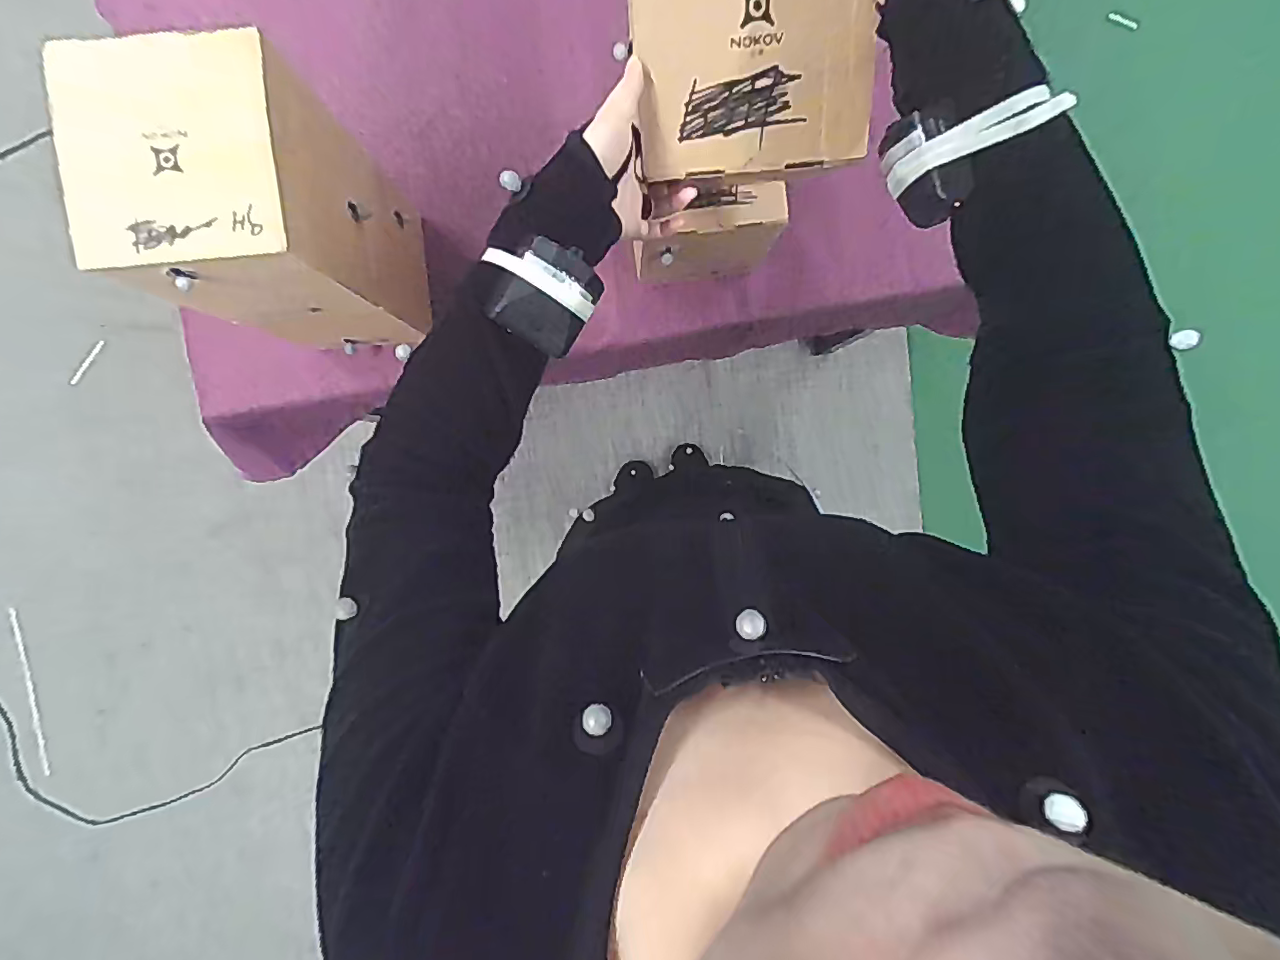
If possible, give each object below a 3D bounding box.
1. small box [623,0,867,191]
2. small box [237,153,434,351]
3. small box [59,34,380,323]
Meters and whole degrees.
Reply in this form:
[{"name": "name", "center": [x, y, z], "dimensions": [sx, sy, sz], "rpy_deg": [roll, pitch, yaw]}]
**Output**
[{"name": "small box", "center": [0.073, -0.342, 0.441], "dimensions": [0.168, 0.176, 0.179], "rpy_deg": [-5, 113, 2]}, {"name": "small box", "center": [-0.373, -0.269, 0.673], "dimensions": [0.168, 0.176, 0.179], "rpy_deg": [-5, 93, -1]}, {"name": "small box", "center": [-0.369, -0.262, 0.508], "dimensions": [0.168, 0.176, 0.179], "rpy_deg": [-5, 92, 0]}]
